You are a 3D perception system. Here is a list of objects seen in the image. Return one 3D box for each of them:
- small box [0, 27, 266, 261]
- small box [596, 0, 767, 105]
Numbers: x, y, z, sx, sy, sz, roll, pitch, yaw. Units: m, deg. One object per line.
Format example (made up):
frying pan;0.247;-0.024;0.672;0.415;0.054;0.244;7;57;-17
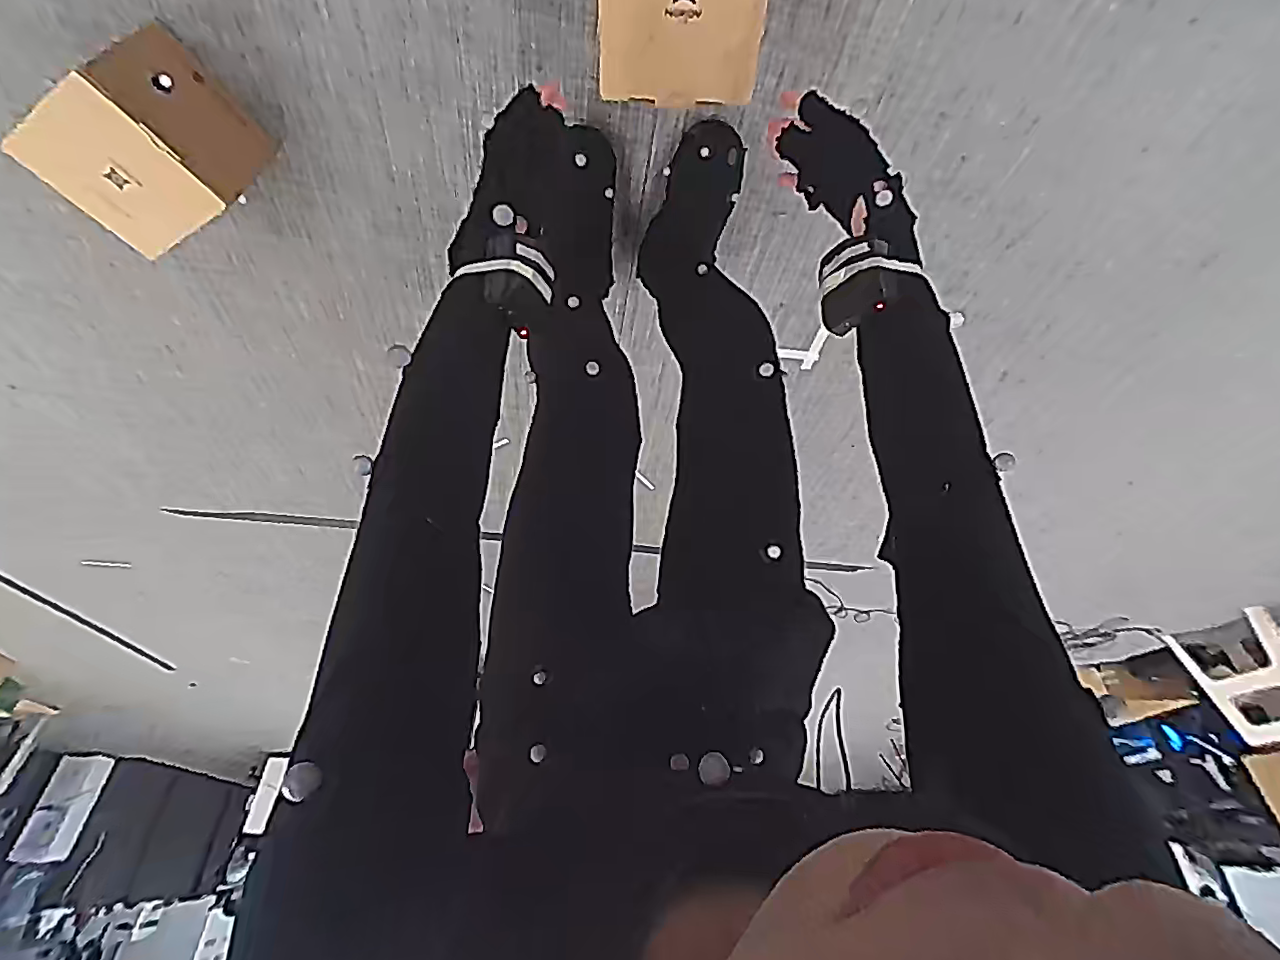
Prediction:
small box;-0.625;-0.427;0.692;0.179;0.176;0.168;-16;140;22
small box;0.041;-0.524;0.557;0.168;0.176;0.179;1;145;-2
